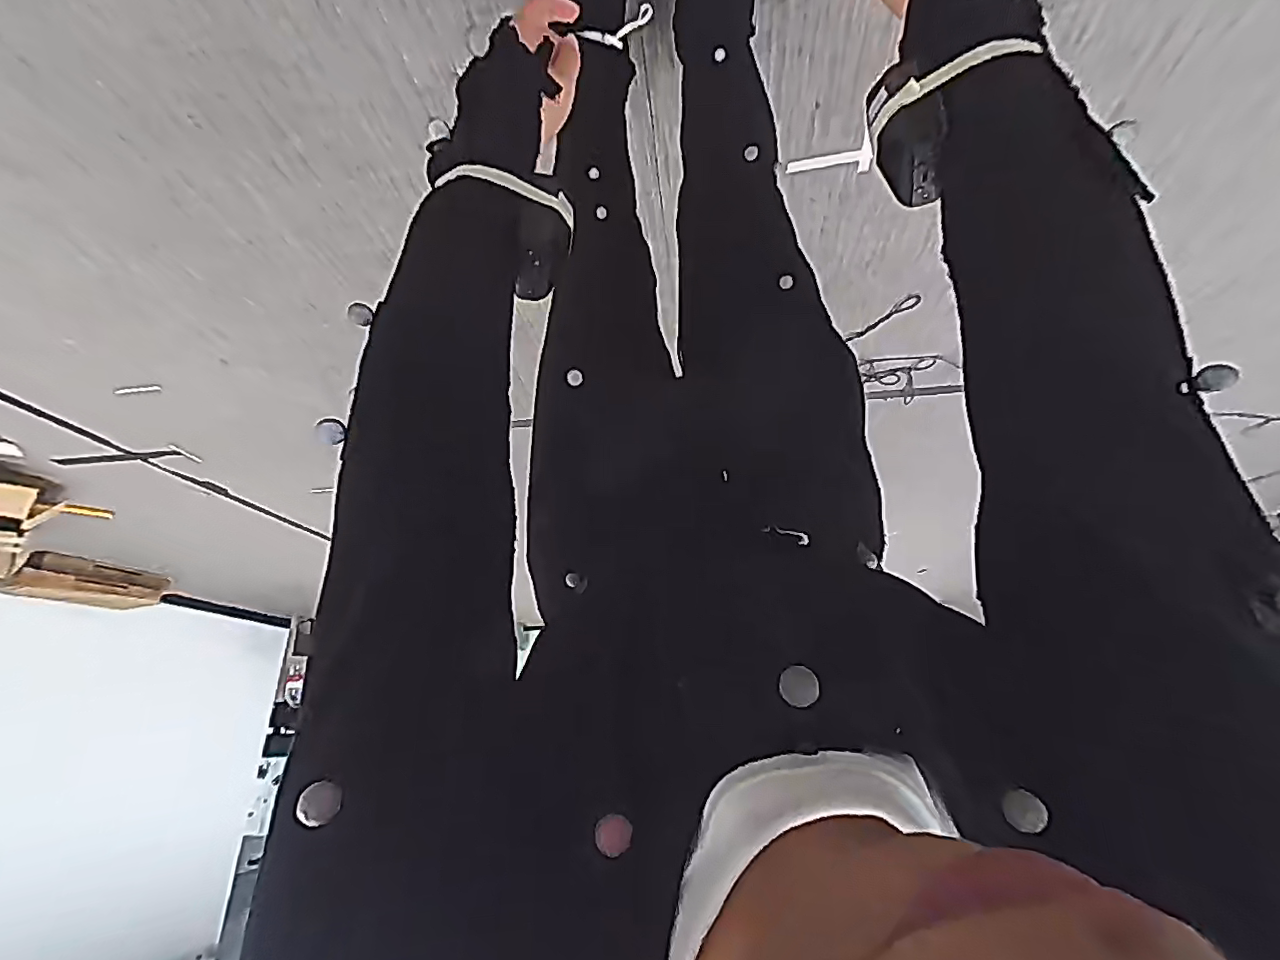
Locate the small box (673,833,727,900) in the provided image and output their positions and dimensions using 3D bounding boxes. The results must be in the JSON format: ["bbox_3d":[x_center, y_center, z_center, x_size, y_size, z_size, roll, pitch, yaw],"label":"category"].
[{"bbox_3d":[0.217,1.394,1.963,0.179,0.176,0.168,-6,155,5],"label":"small box"}]
